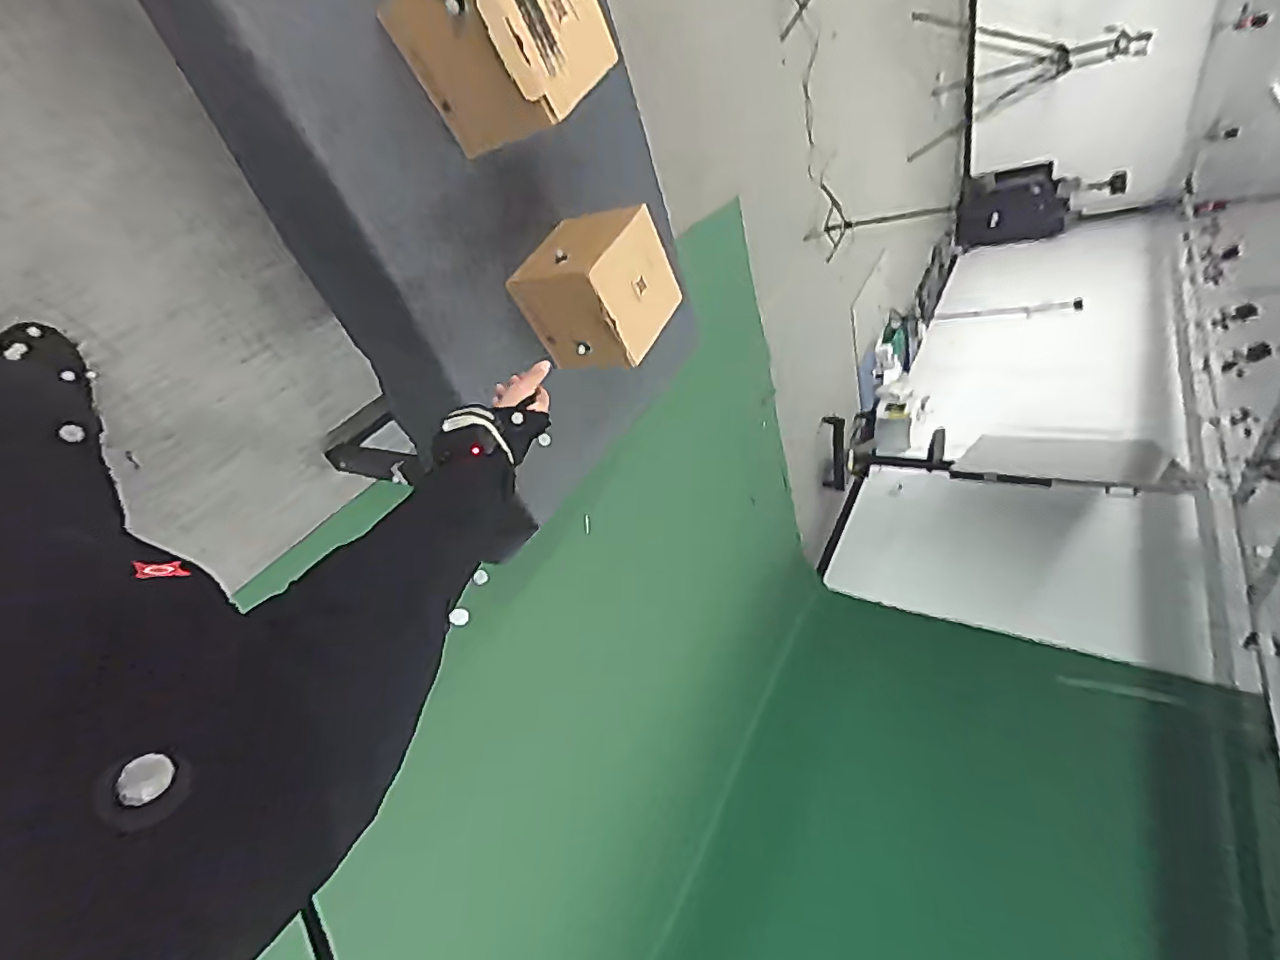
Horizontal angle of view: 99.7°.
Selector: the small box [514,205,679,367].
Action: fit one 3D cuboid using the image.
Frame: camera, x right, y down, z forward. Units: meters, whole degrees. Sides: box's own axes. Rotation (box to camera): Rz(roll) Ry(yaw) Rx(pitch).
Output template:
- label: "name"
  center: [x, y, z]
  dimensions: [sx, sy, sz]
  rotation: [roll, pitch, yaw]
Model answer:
- label: "small box"
  center: [-0.069, -0.292, 0.843]
  dimensions: [0.179, 0.176, 0.168]
  rotation: [-61, 141, -28]
